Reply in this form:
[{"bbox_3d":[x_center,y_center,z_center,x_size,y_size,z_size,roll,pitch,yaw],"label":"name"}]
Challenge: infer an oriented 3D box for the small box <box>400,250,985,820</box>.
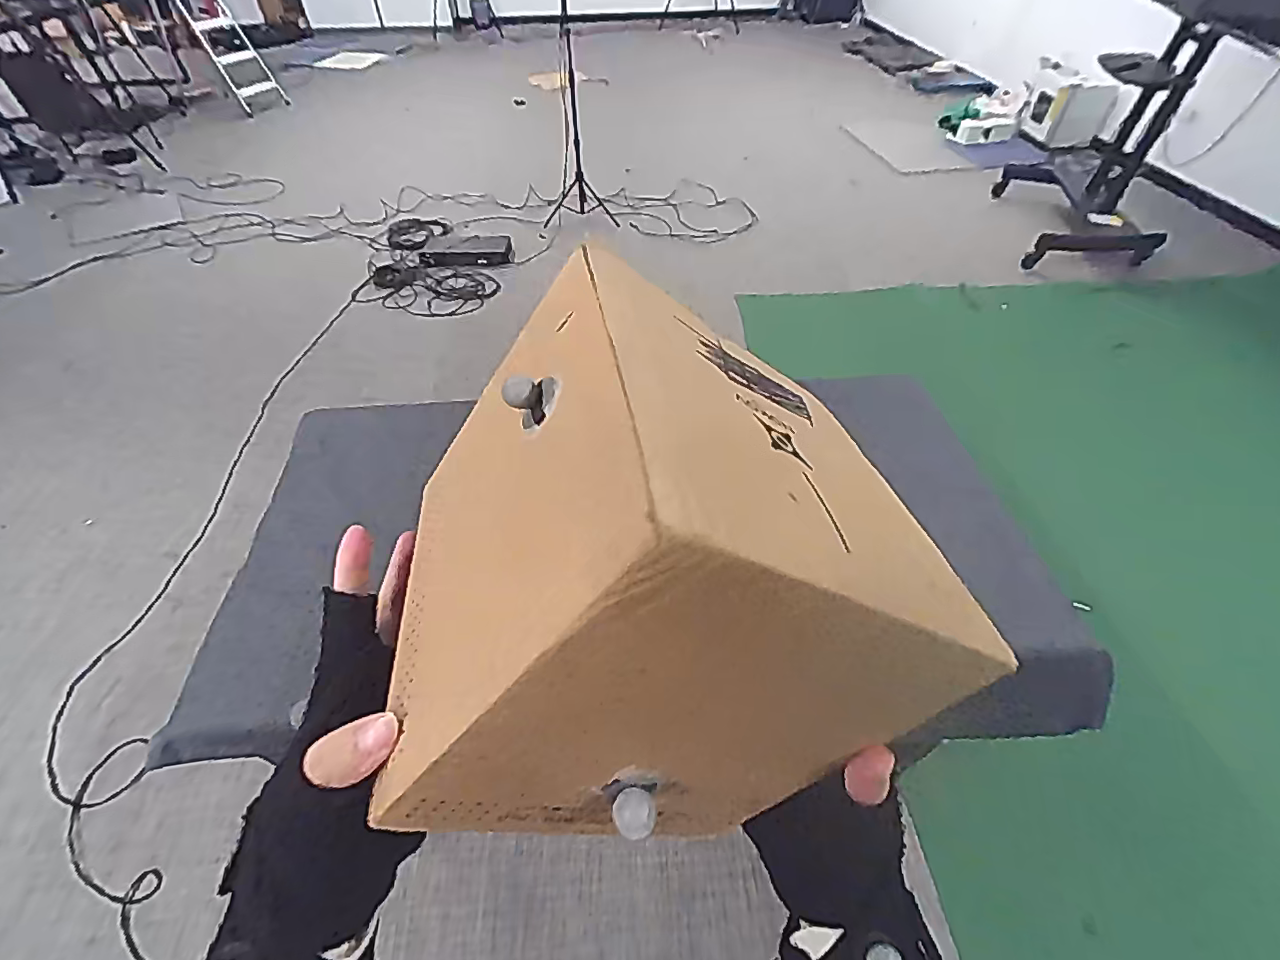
[{"bbox_3d":[0.004,0.033,0.261,0.168,0.176,0.179,24,32,-30],"label":"small box"}]
